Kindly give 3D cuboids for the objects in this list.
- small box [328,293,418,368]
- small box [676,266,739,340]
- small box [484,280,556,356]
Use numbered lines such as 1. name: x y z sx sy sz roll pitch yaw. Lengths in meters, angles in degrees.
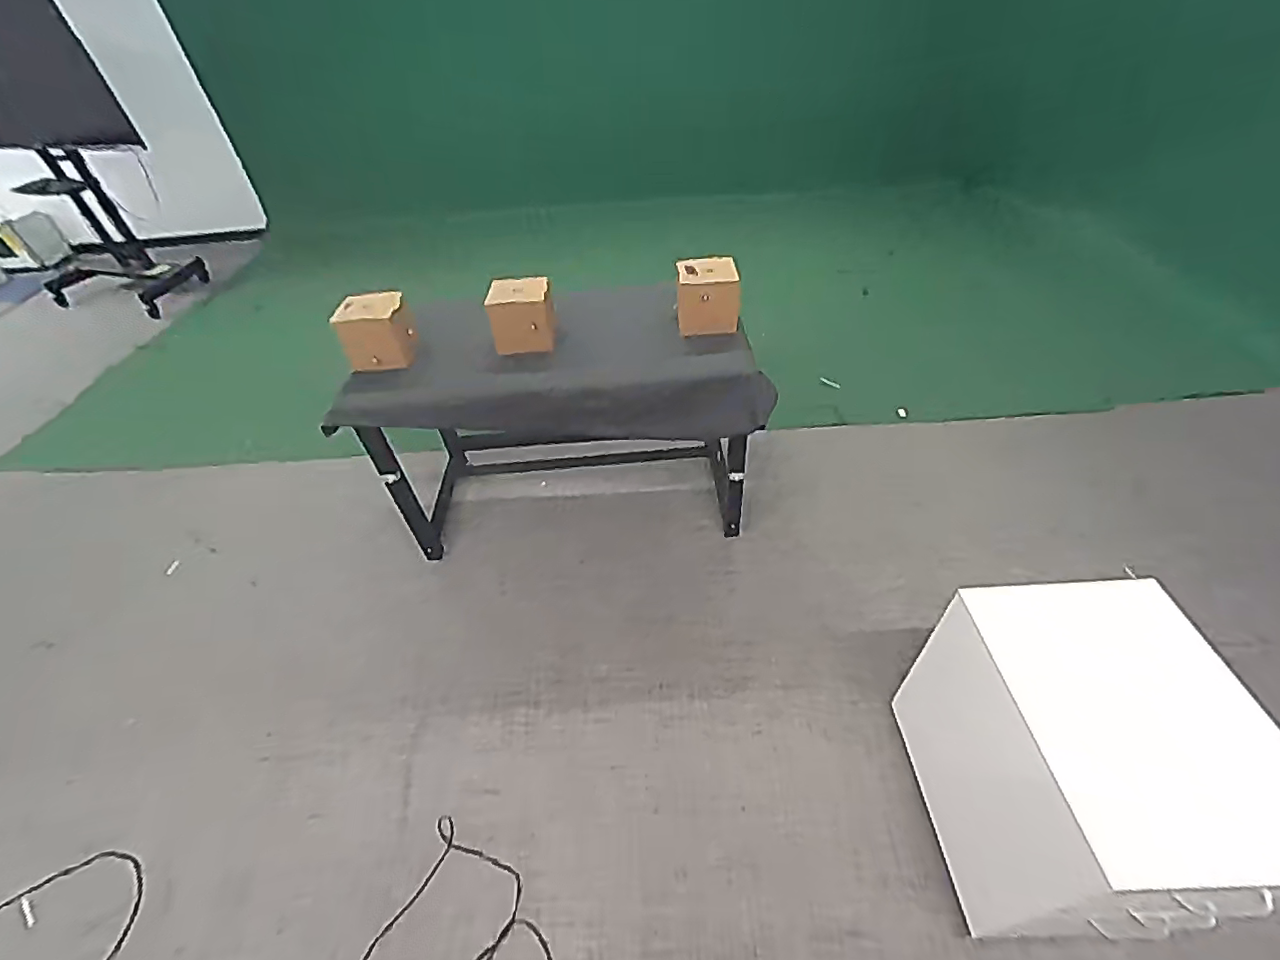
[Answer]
1. small box: -0.796 -0.451 1.635 0.179 0.176 0.168 -2 42 -1
2. small box: 0.204 -0.545 1.672 0.179 0.176 0.168 -2 43 1
3. small box: -0.359 -0.495 1.660 0.179 0.176 0.168 -4 42 1
